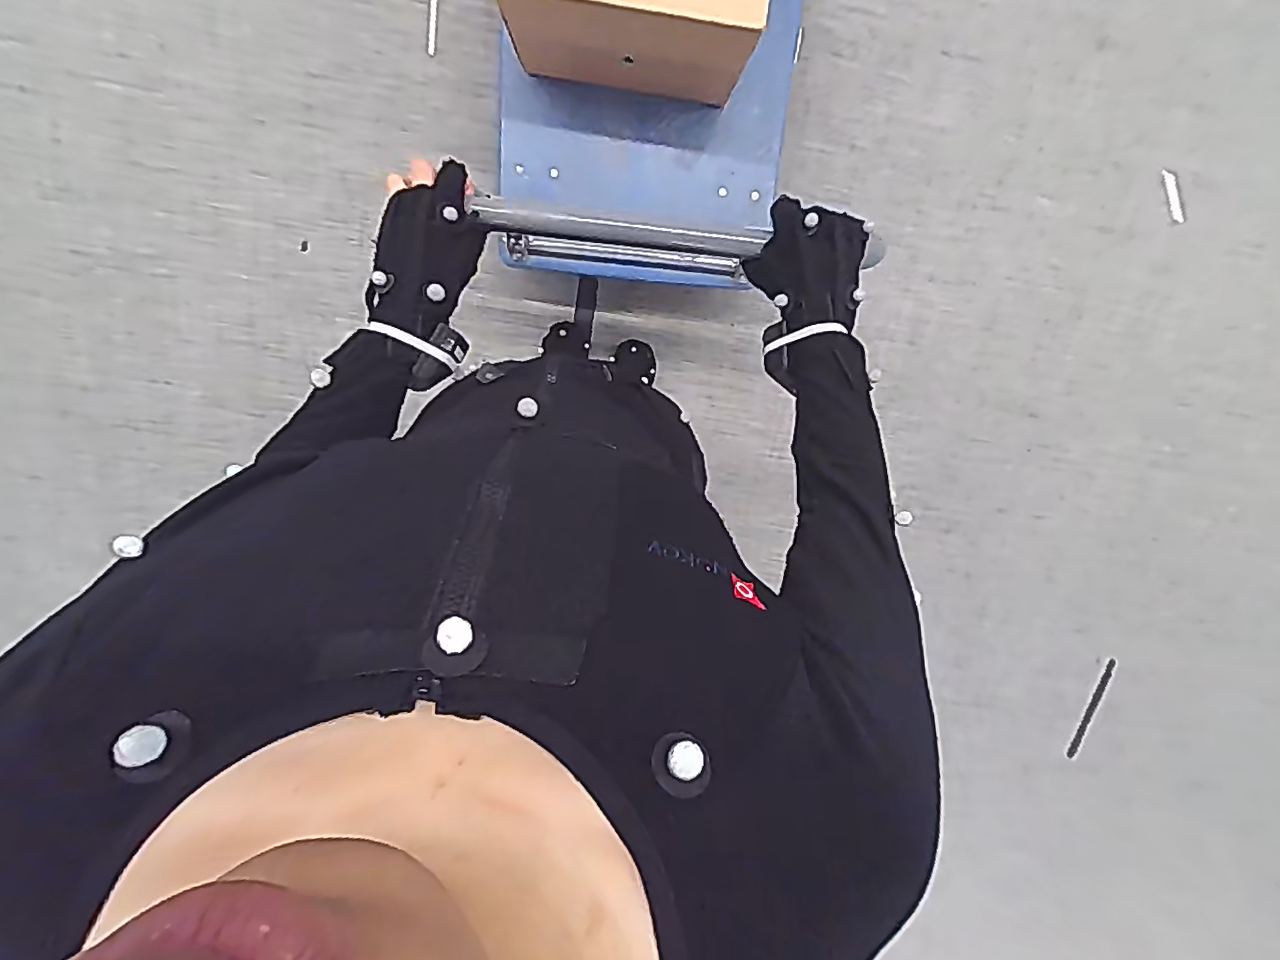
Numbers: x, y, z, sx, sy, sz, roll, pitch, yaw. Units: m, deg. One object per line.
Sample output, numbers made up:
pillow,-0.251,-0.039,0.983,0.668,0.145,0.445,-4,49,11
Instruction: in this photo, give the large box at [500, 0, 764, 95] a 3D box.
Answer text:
large box,-0.002,-0.888,0.896,0.408,0.320,0.320,6,107,-4
